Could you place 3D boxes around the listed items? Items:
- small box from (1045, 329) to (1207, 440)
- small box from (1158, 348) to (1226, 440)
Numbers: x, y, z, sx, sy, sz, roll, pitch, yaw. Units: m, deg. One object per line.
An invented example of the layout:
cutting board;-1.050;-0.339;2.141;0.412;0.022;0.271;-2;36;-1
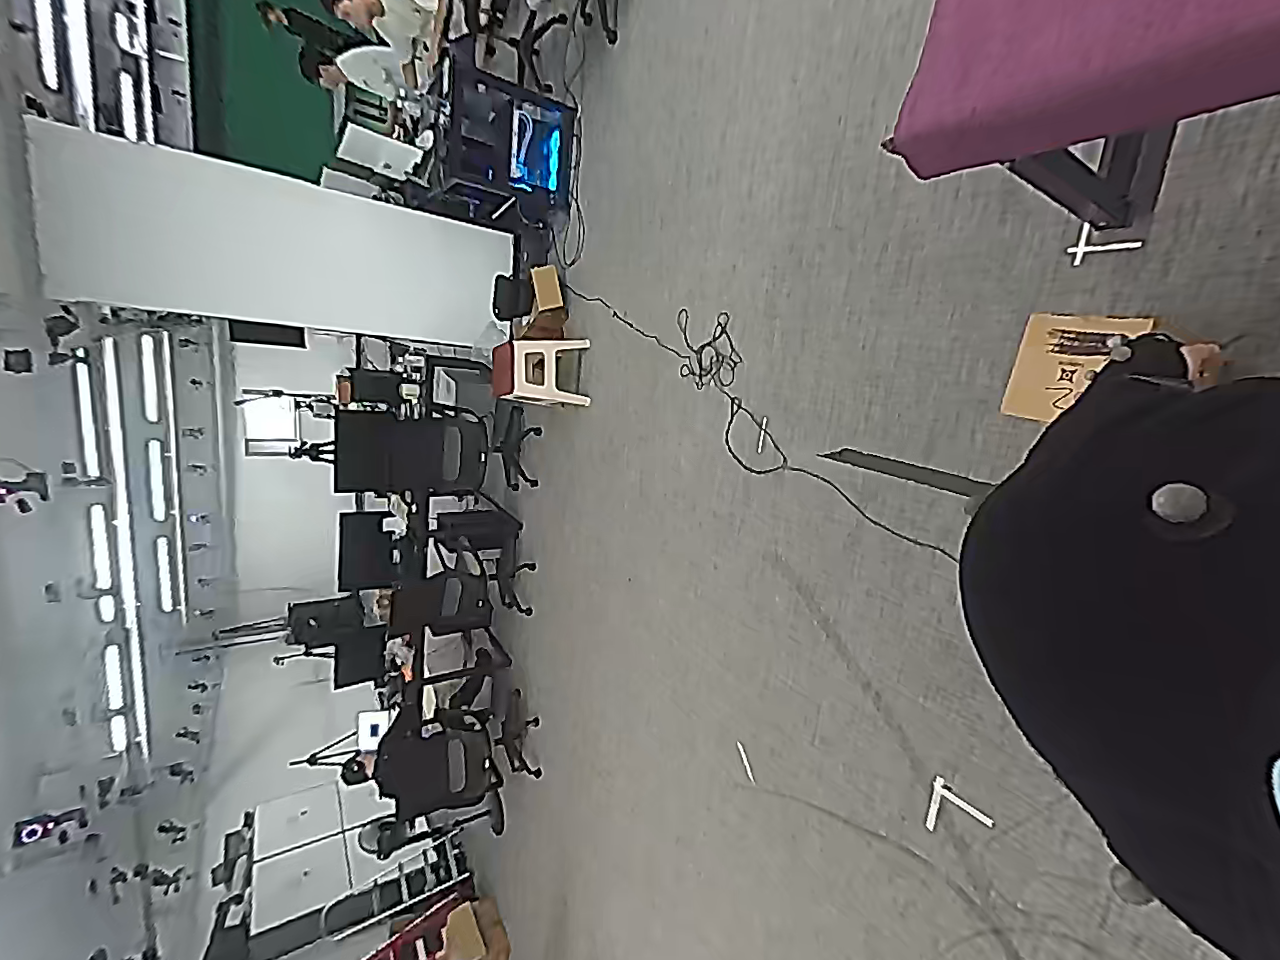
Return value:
small box;0.898;-0.175;0.999;0.168;0.176;0.179;25;113;53
small box;1.031;-0.185;1.097;0.168;0.176;0.179;33;118;50
